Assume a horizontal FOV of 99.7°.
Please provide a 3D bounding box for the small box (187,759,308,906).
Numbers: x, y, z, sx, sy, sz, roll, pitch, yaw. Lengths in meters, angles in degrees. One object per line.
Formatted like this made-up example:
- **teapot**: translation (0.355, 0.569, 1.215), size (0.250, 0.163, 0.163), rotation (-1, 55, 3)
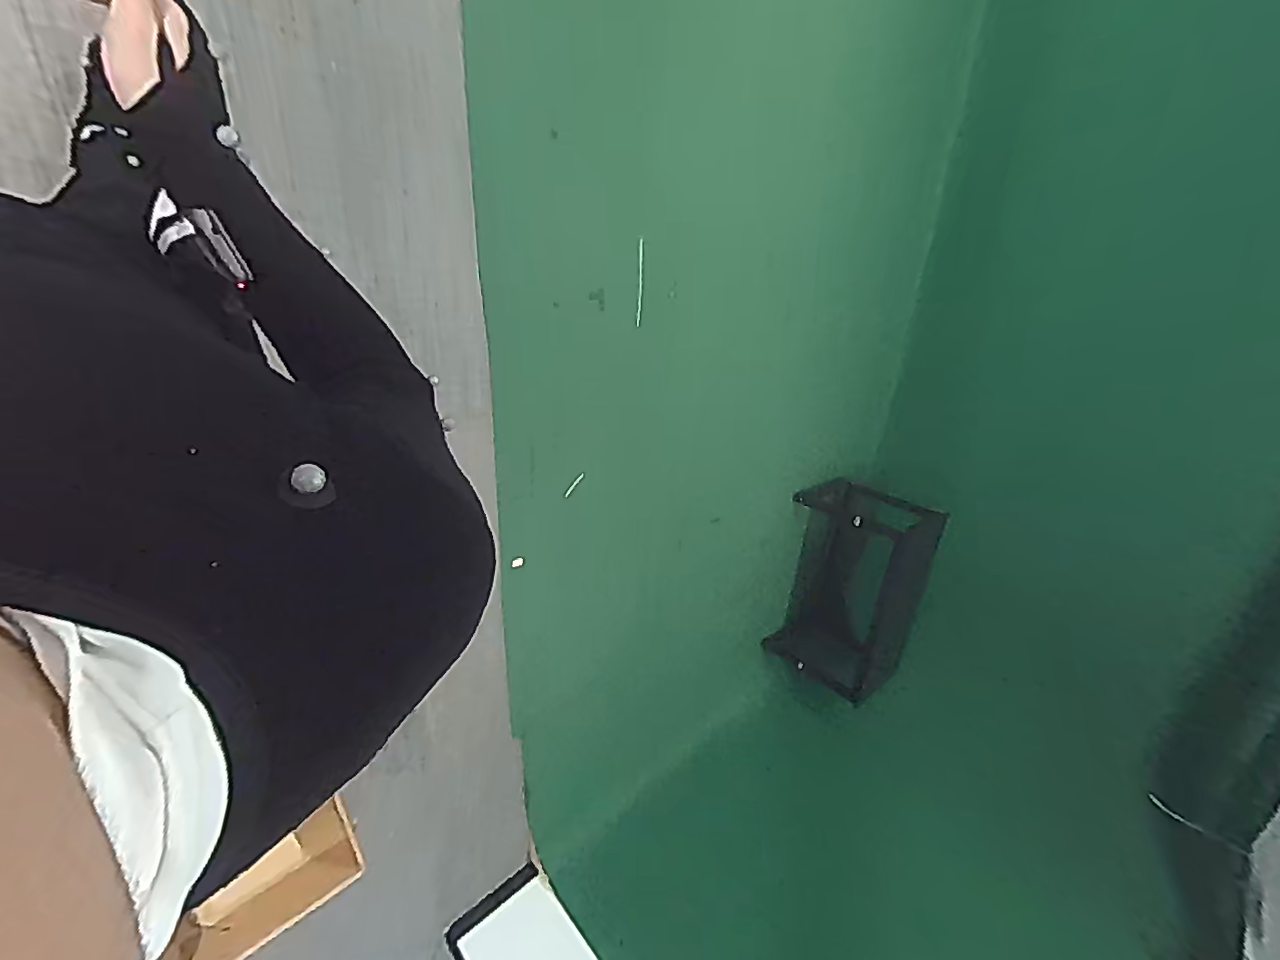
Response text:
- **small box**: translation (-0.864, 0.768, 1.195), size (0.168, 0.176, 0.179), rotation (-22, 125, -38)
